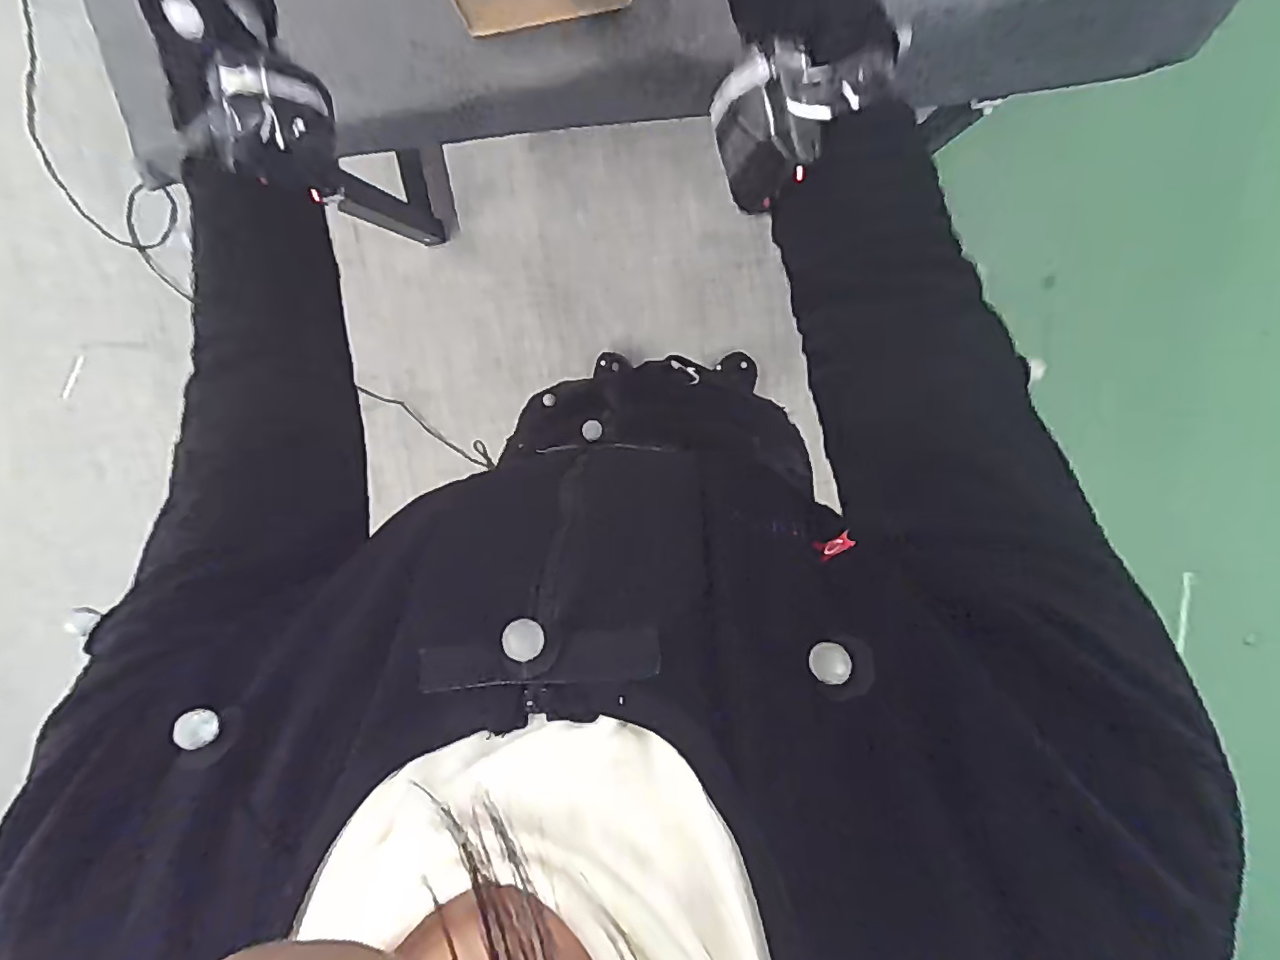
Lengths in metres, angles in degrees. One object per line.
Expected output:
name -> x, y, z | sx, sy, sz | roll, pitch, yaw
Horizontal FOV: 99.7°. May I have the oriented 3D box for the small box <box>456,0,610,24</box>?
small box -> -0.112, -0.549, 0.475 | 0.179, 0.176, 0.168 | -7, 102, 5
